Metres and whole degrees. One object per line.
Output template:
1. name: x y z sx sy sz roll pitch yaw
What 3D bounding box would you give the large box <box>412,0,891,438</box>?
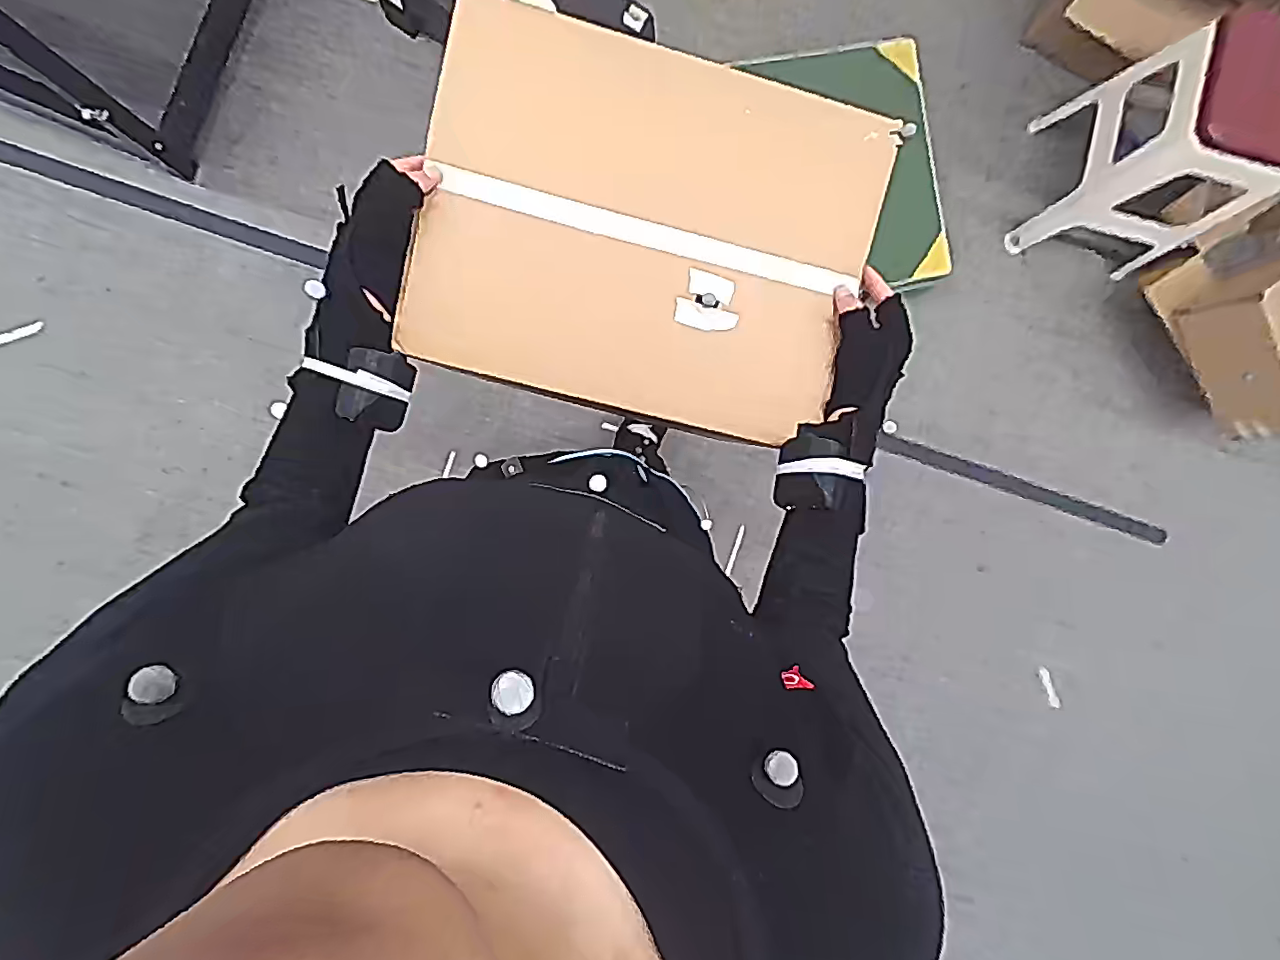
1. large box: -0.001 -0.245 0.649 0.408 0.320 0.320 13 96 -7
